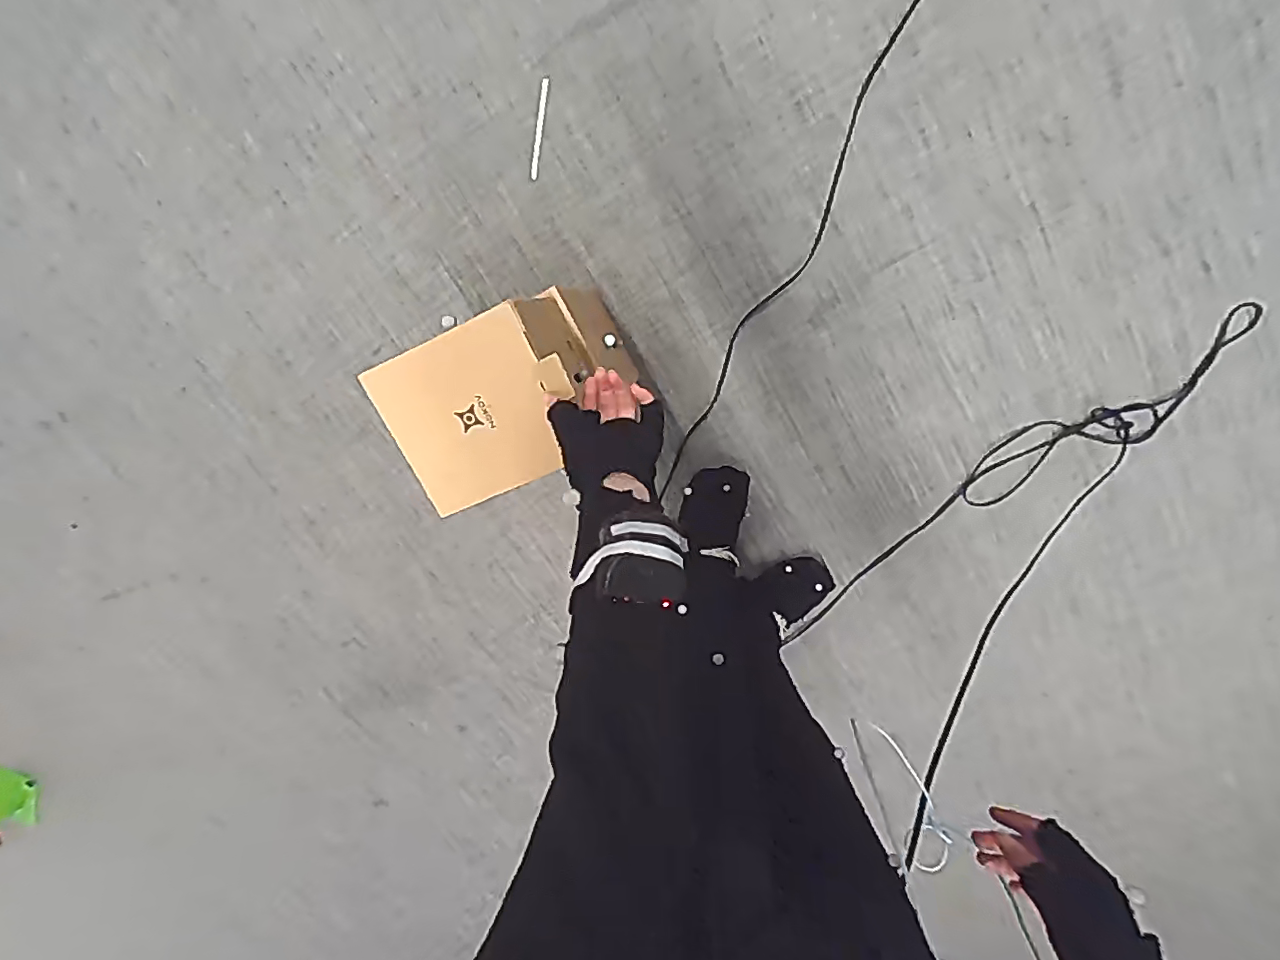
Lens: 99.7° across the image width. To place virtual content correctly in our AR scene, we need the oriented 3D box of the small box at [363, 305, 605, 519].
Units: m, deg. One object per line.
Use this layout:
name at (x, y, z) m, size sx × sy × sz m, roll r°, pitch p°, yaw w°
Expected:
small box at (-0.156, -0.084, 0.608) m, size 0.179 × 0.176 × 0.168 m, roll -22°, pitch 106°, yaw 11°

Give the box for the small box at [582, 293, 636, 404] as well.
small box at (-0.117, -0.199, 0.913) m, size 0.168 × 0.176 × 0.179 m, roll -26°, pitch 106°, yaw 13°

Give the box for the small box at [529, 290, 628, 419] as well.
small box at (-0.132, -0.148, 0.756) m, size 0.179 × 0.176 × 0.168 m, roll -25°, pitch 106°, yaw 12°
